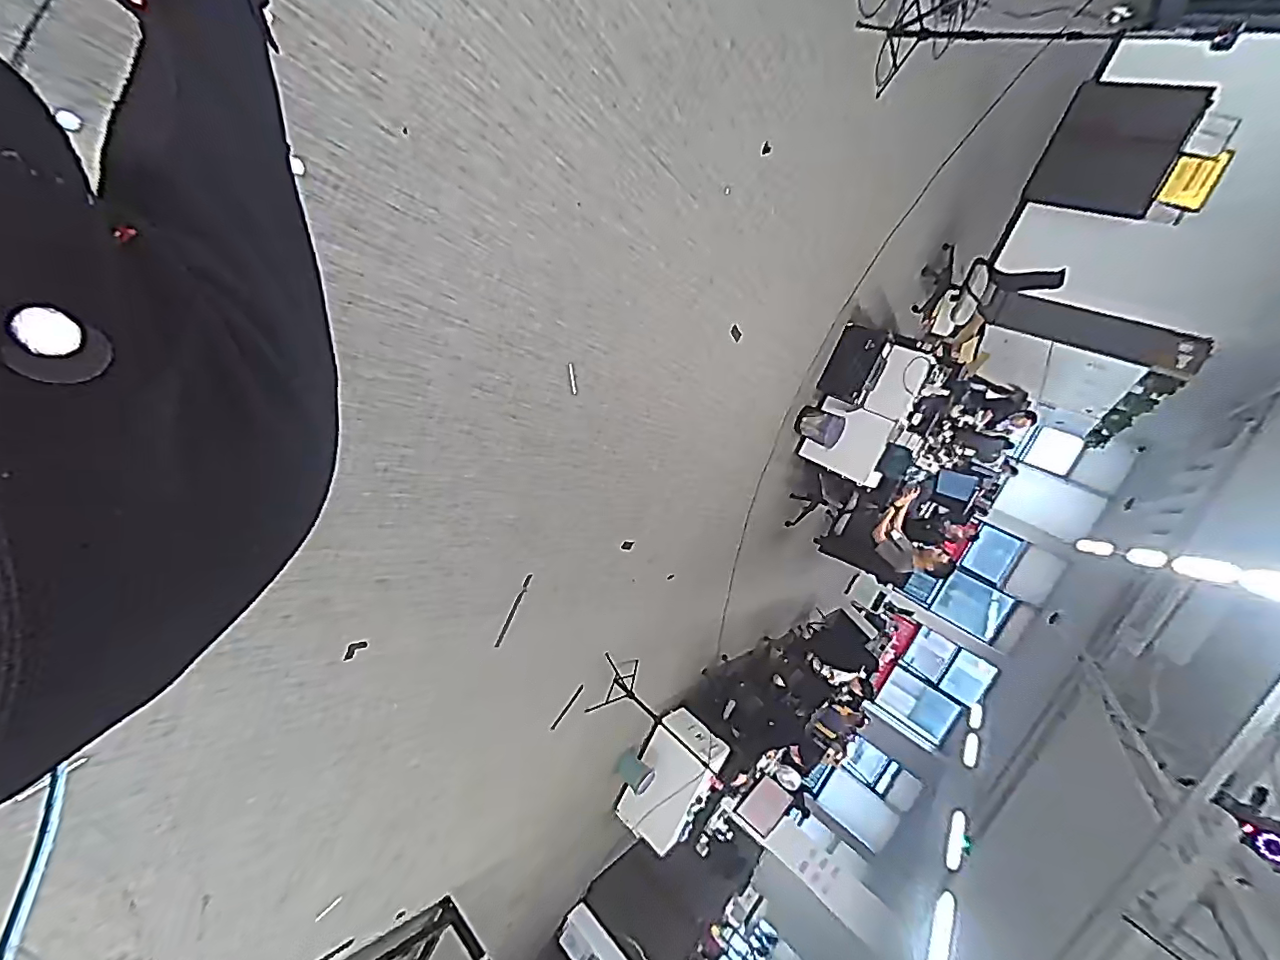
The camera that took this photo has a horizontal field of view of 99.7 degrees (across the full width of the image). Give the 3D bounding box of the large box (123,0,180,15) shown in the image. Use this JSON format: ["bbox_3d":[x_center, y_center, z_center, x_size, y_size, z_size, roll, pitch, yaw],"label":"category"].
[{"bbox_3d":[-0.550,-0.593,0.322,0.408,0.320,0.320,-1,123,-55],"label":"large box"}]
